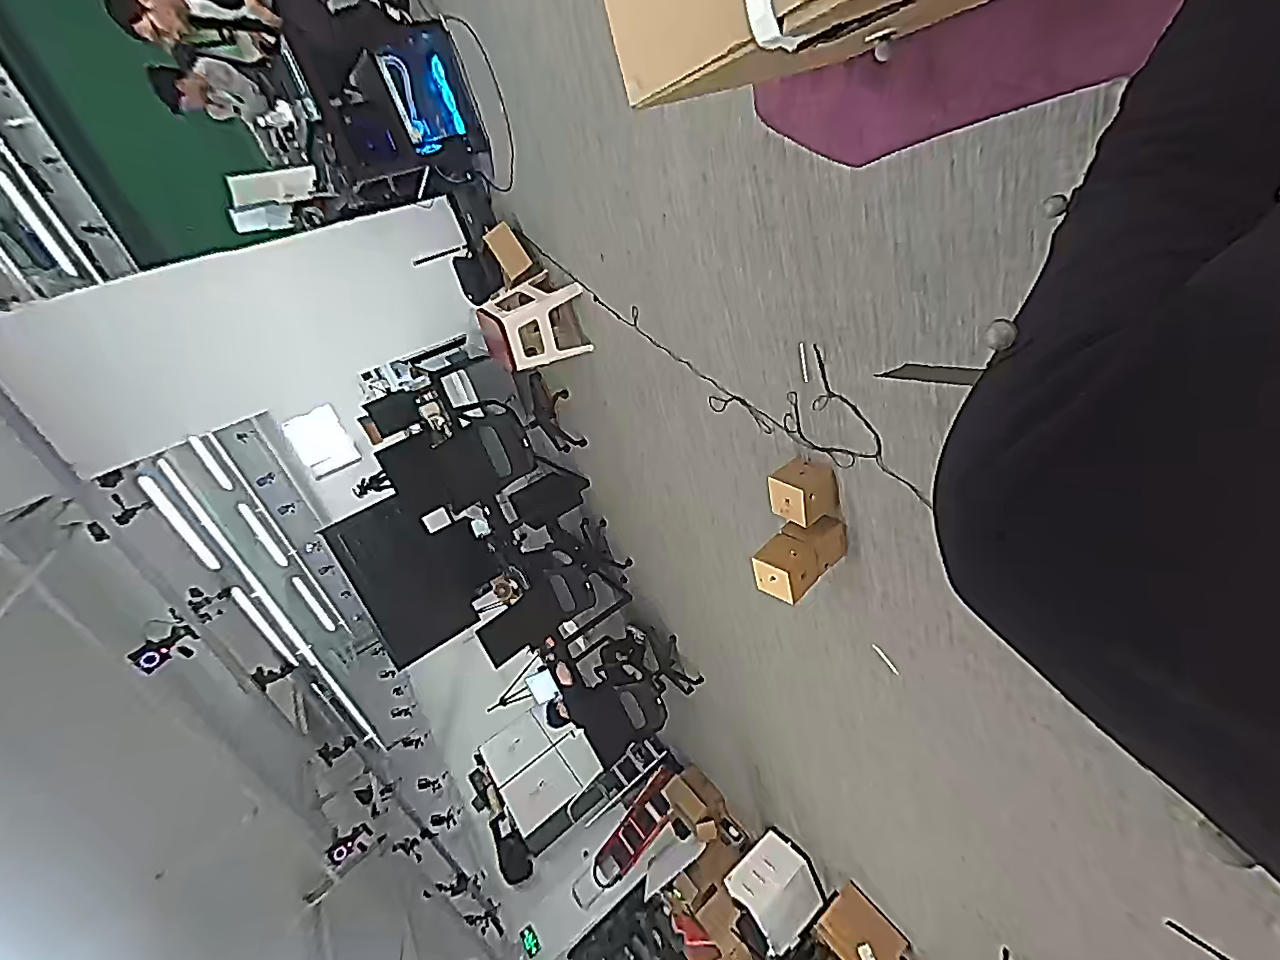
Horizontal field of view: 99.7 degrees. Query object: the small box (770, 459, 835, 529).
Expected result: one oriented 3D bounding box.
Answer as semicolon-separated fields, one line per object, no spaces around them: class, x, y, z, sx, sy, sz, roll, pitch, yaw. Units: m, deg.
small box;0.614;0.045;2.030;0.168;0.176;0.179;29;143;49
